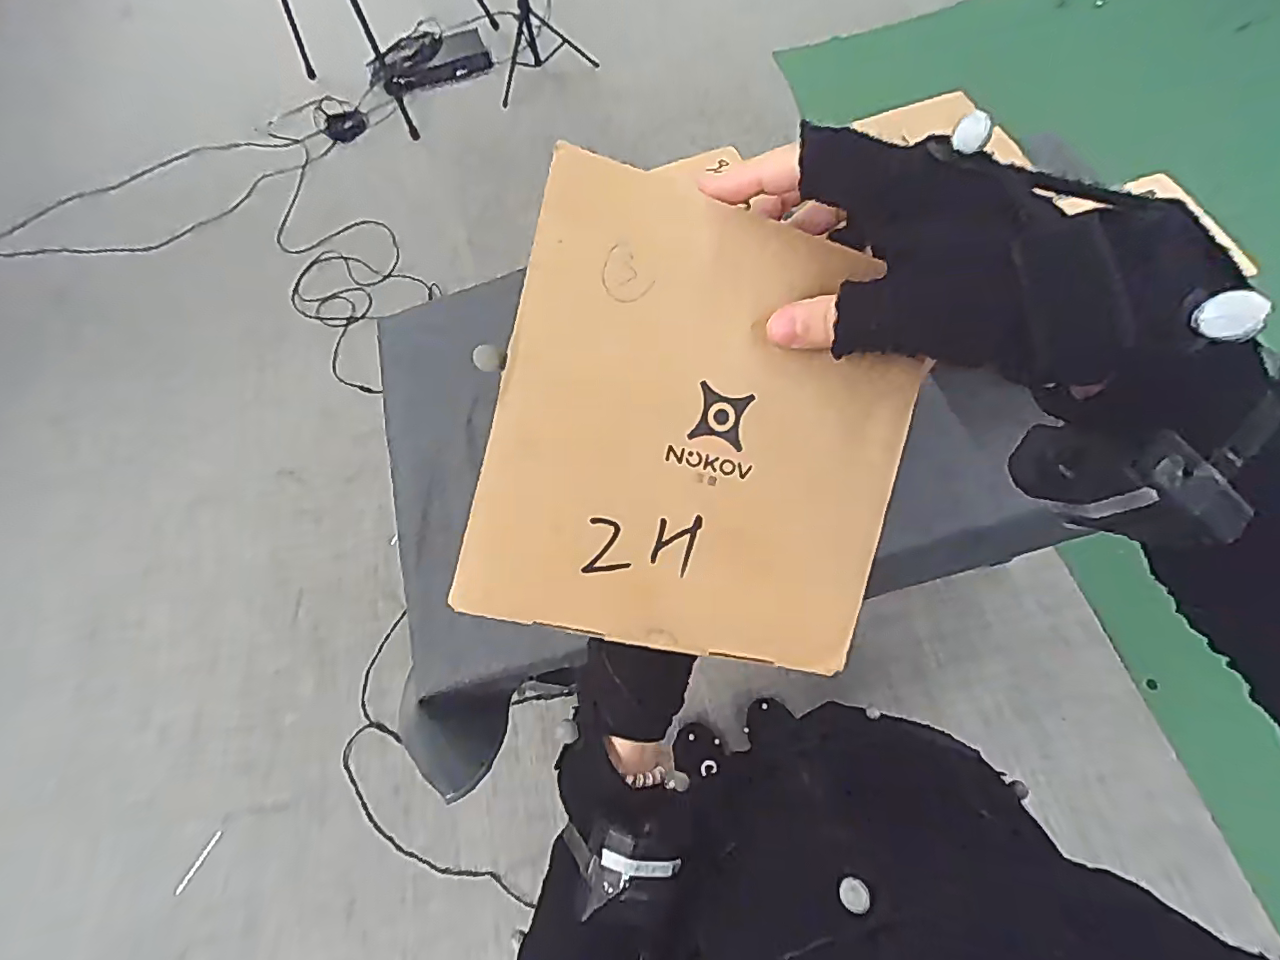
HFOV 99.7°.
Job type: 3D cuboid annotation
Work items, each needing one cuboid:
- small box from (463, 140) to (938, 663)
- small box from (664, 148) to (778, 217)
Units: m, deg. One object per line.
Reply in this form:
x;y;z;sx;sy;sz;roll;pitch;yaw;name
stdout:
0.014;-0.029;0.294;0.168;0.176;0.179;14;93;-13;small box
0.048;-0.202;0.578;0.179;0.176;0.168;-20;67;-1;small box
